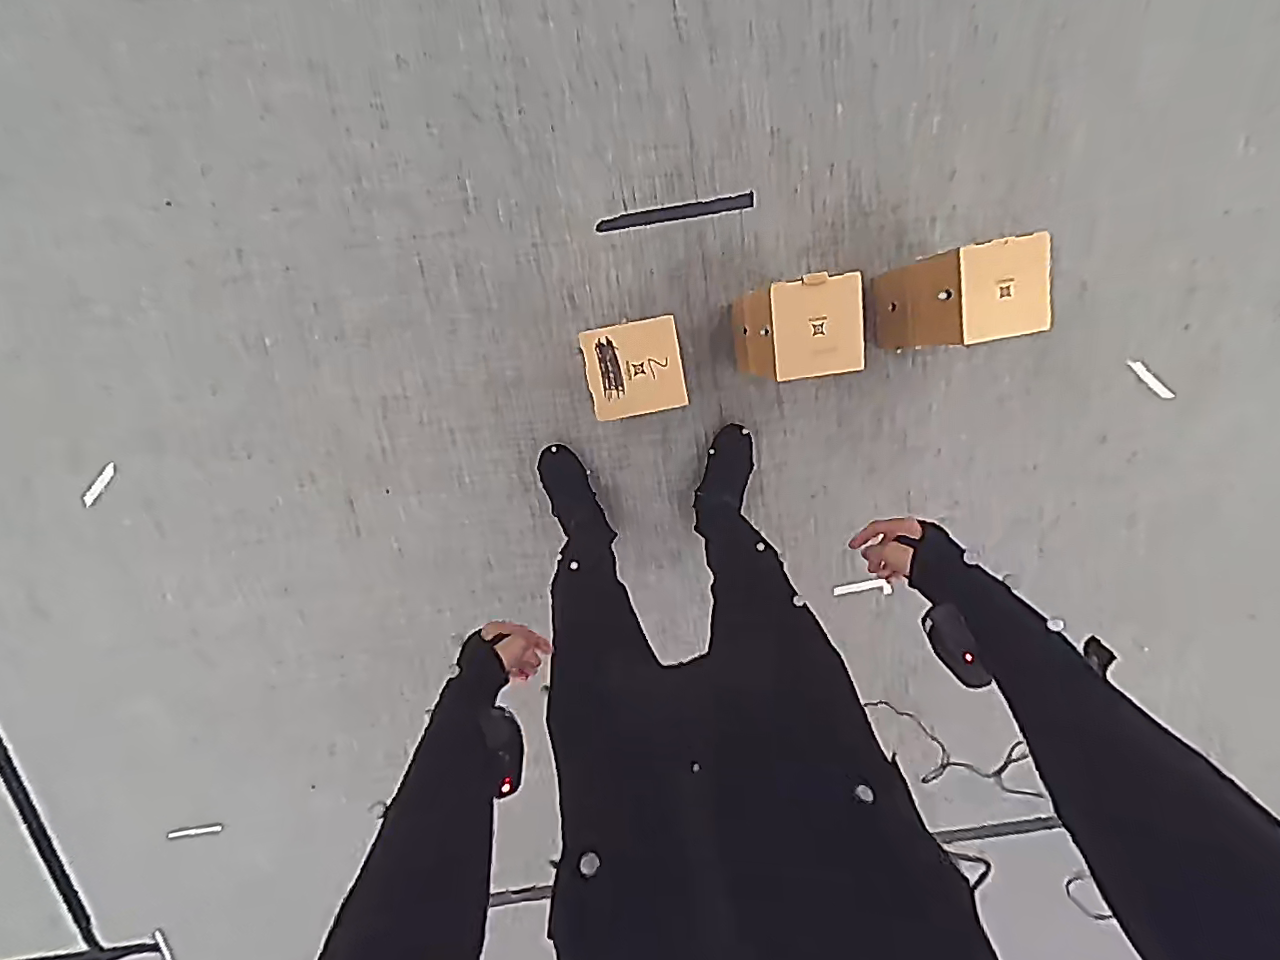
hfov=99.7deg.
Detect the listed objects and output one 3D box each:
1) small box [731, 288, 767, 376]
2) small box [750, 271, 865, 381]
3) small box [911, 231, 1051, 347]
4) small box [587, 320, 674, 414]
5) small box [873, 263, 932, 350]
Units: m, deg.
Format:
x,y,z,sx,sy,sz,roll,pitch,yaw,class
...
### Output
x,y,z,sx,sy,sz,roll,pitch,yaw,class
0.305,-0.330,1.200,0.168,0.176,0.179,-8,103,-1,small box
0.315,-0.289,1.041,0.168,0.176,0.179,-8,102,0,small box
0.651,-0.358,1.045,0.168,0.176,0.179,-11,102,-1,small box
-0.023,-0.249,1.205,0.168,0.176,0.179,-9,102,0,small box
0.640,-0.392,1.203,0.168,0.176,0.179,-11,102,0,small box
